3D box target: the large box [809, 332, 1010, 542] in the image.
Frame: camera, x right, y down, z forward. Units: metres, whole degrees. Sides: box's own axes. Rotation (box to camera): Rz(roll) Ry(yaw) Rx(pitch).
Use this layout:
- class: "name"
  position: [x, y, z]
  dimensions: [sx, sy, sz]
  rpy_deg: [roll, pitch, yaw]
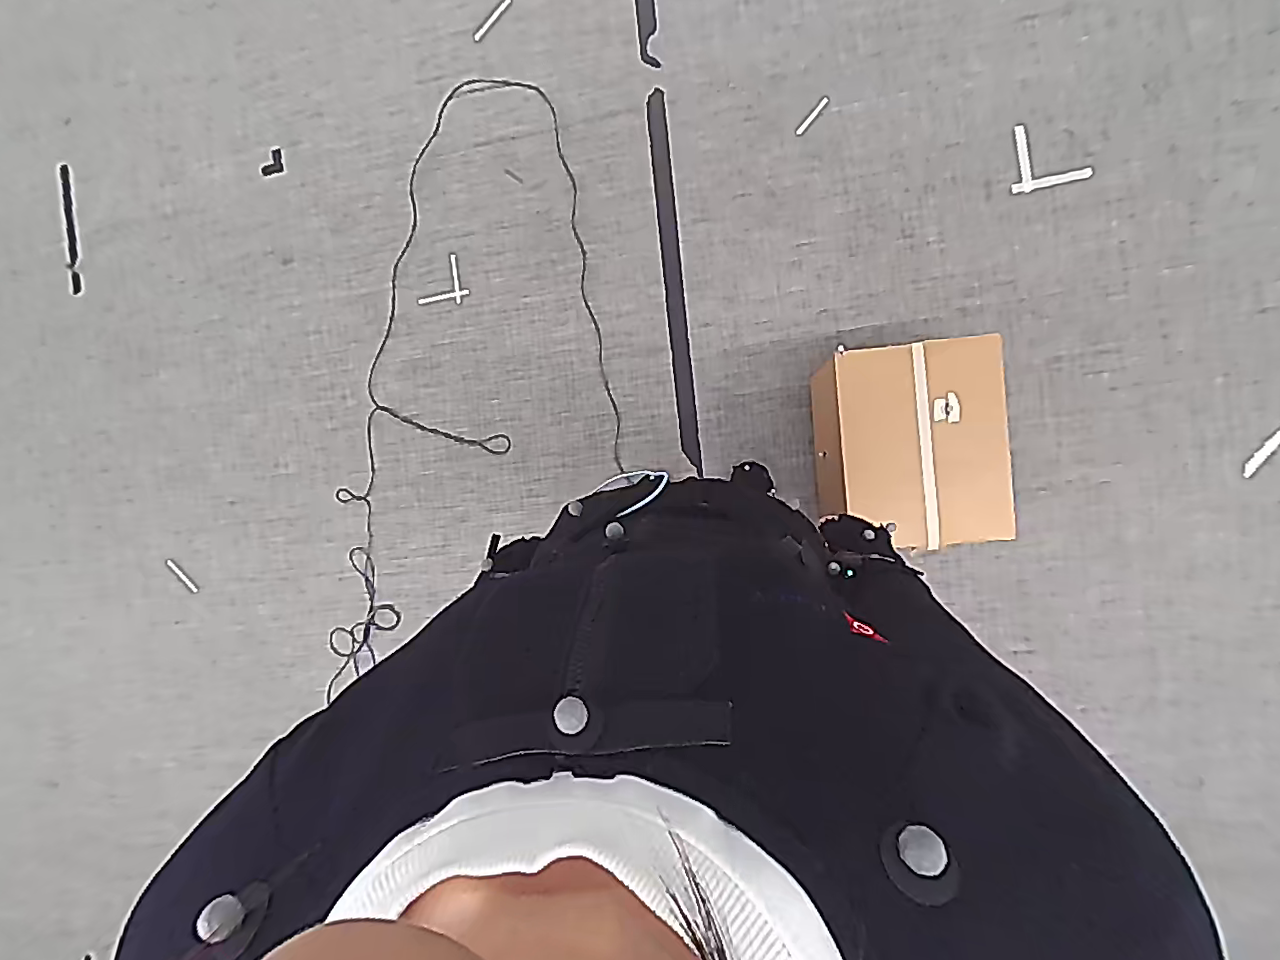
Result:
- class: "large box"
  position: [0.583, -0.085, 1.236]
  dimensions: [0.320, 0.320, 0.408]
  rpy_deg: [-5, 90, 7]
